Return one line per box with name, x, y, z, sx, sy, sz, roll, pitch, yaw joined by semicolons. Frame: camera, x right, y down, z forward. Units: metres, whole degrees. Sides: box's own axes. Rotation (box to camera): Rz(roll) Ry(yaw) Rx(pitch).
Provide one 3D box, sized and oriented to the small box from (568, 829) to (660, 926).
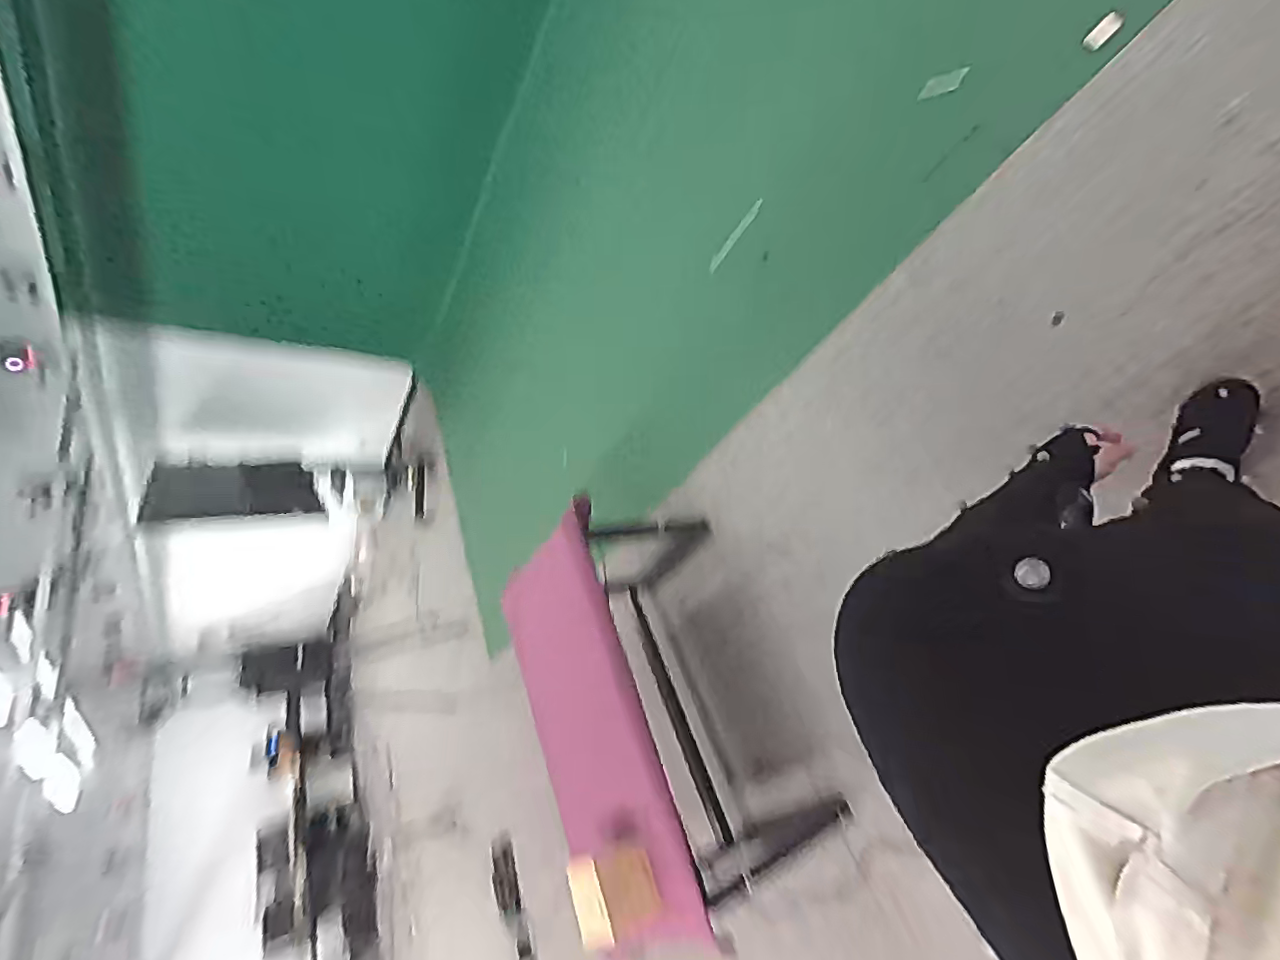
small box;-0.072;1.102;1.502;0.179;0.176;0.168;-49;53;40
